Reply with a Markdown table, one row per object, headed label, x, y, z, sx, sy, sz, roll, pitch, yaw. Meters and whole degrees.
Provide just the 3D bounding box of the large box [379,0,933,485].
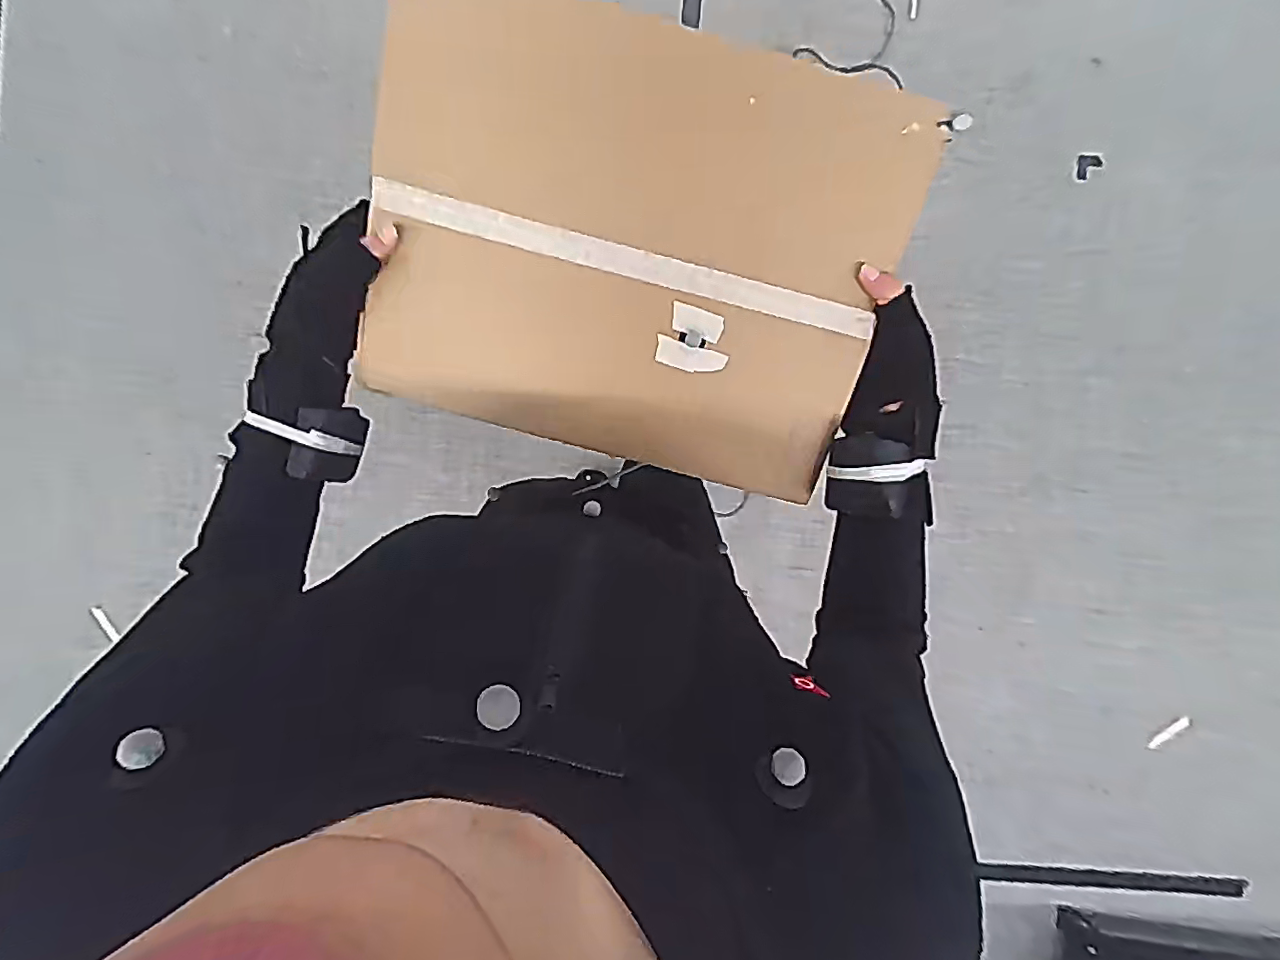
| label | x | y | z | sx | sy | sz | roll | pitch | yaw |
| --- | --- | --- | --- | --- | --- | --- | --- | --- | --- |
| large box | -0.003 | -0.223 | 0.582 | 0.408 | 0.320 | 0.320 | 14 | 109 | -3 |
